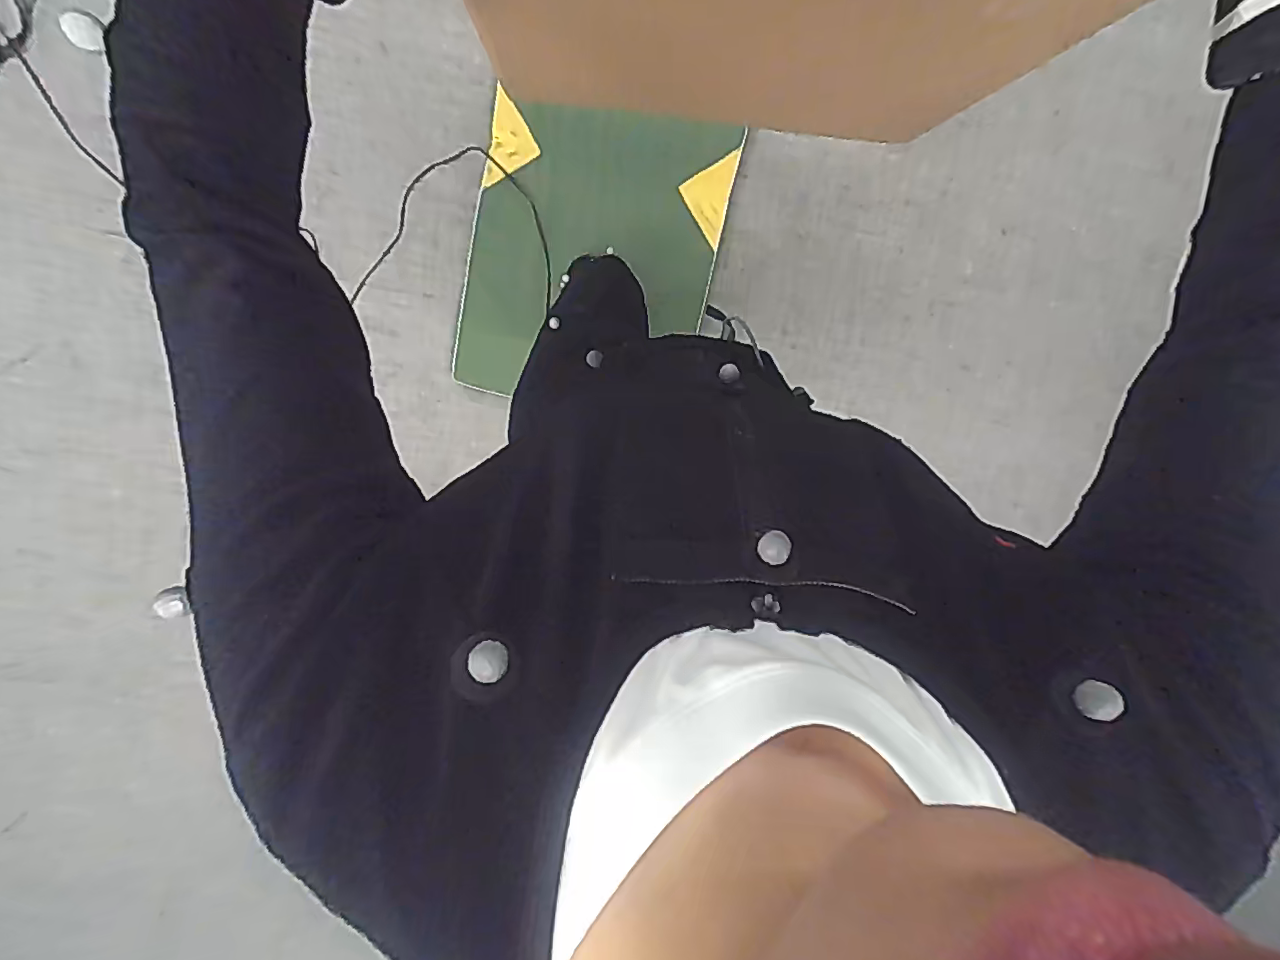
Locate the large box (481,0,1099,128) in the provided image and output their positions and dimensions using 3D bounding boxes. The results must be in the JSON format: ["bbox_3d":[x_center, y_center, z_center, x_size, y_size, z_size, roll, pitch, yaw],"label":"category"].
[{"bbox_3d":[0.092,-0.465,0.349,0.408,0.320,0.320,2,107,-6],"label":"large box"}]
